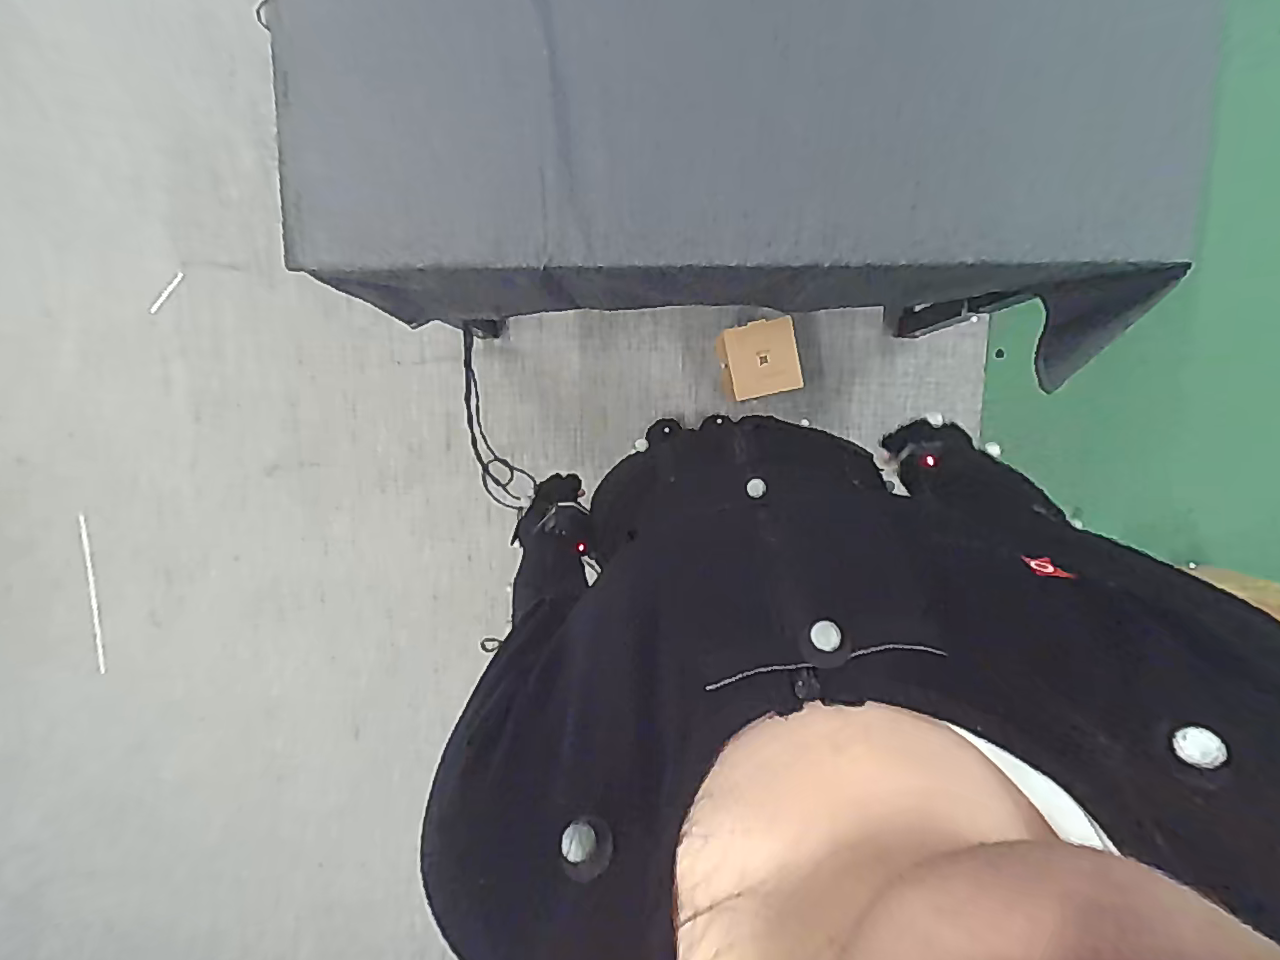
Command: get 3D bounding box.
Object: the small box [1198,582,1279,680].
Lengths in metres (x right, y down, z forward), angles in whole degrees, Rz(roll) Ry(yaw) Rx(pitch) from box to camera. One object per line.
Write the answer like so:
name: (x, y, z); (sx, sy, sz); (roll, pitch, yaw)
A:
small box: (1.443, 0.336, 1.235); (0.168, 0.176, 0.179); (-2, 97, 2)

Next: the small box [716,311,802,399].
small box: (0.292, -0.306, 1.359); (0.168, 0.176, 0.179); (-12, 96, 3)
